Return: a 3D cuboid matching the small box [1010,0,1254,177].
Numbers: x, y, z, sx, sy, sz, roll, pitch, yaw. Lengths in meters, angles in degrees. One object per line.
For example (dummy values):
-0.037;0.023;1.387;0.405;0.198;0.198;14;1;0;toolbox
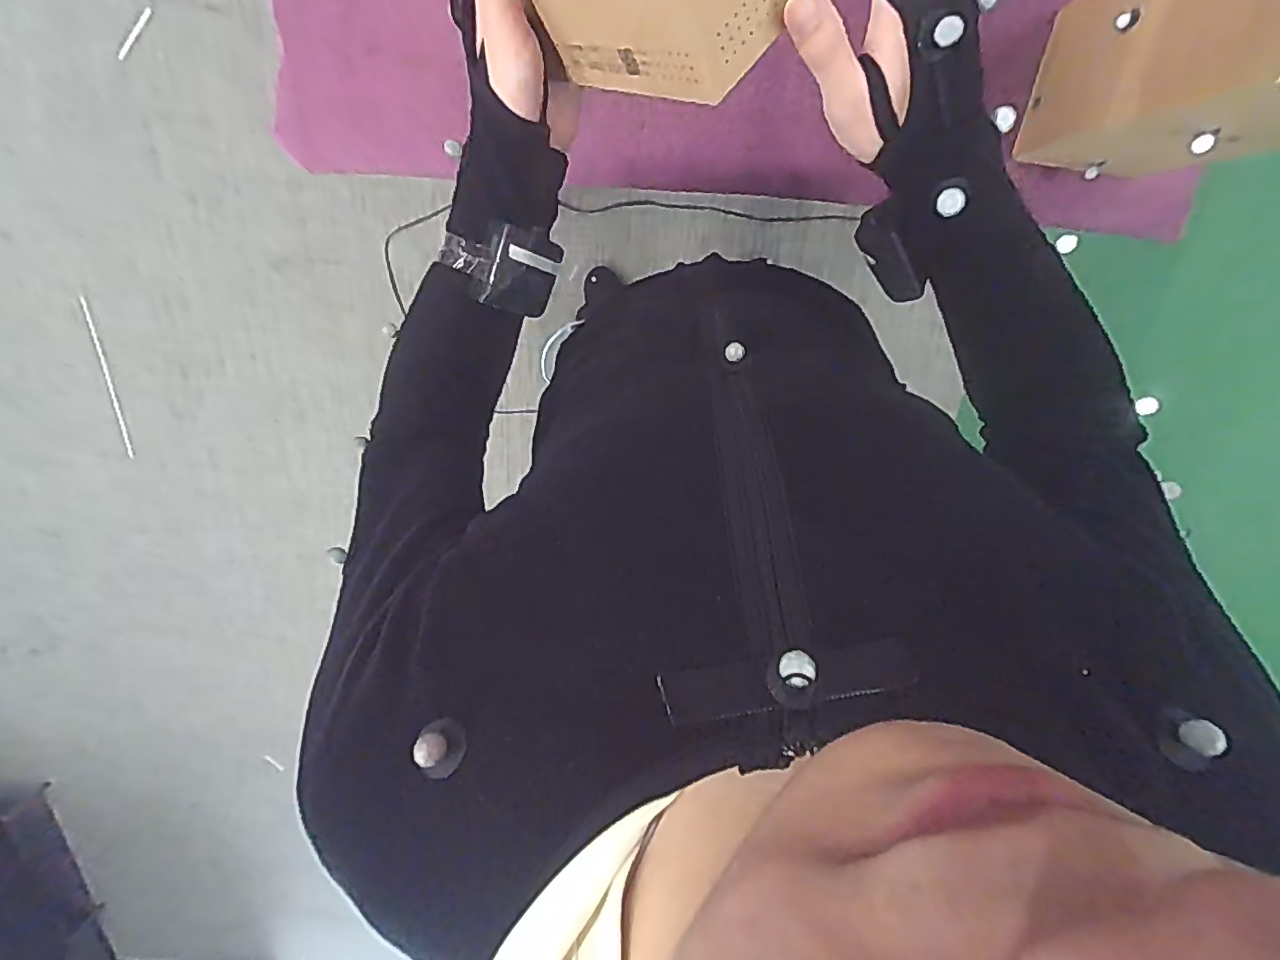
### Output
0.583;-0.461;0.620;0.179;0.176;0.168;8;110;-2;small box
